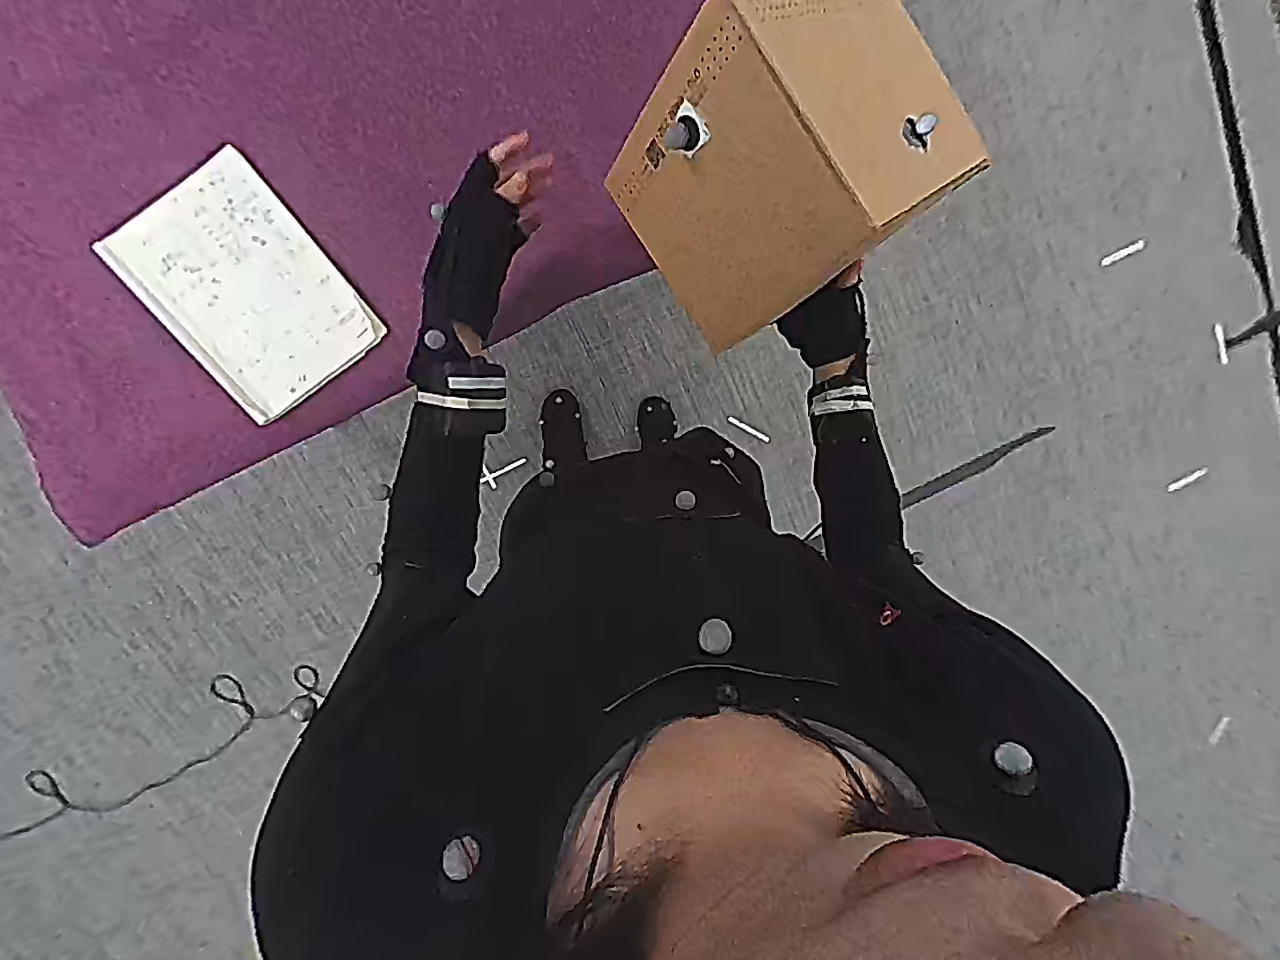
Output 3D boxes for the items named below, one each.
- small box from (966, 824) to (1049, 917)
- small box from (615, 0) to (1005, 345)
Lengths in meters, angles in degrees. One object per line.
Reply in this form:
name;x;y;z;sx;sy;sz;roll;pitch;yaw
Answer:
small box;1.249;1.328;1.850;0.179;0.176;0.168;-14;101;-6
small box;0.115;-0.236;0.398;0.179;0.168;0.176;-35;92;-29
